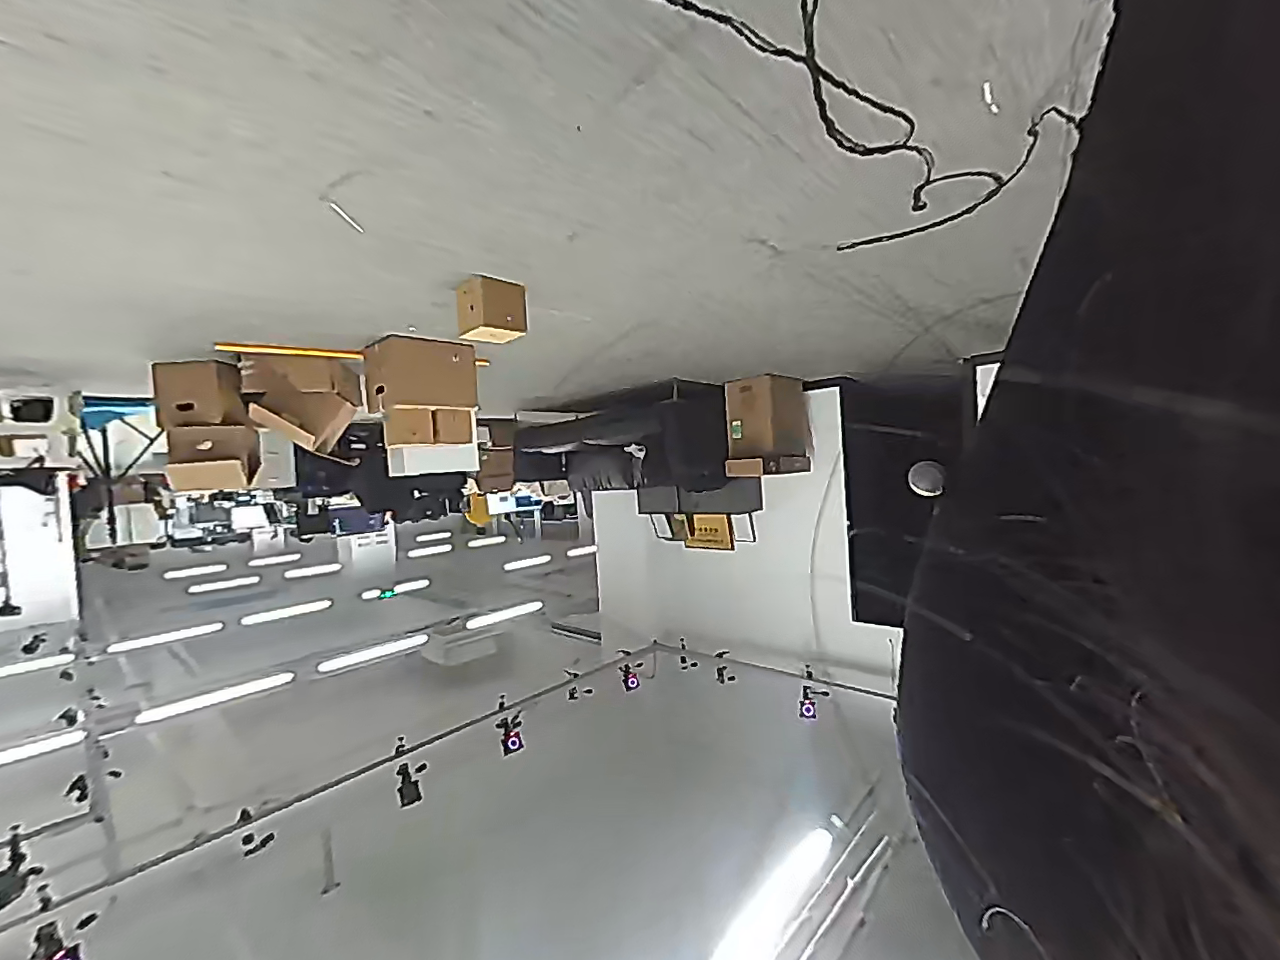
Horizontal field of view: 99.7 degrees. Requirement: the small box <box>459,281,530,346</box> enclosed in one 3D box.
[{"bbox_3d":[-0.498,-0.564,1.836,0.168,0.176,0.179,-3,-178,44],"label":"small box"}]
